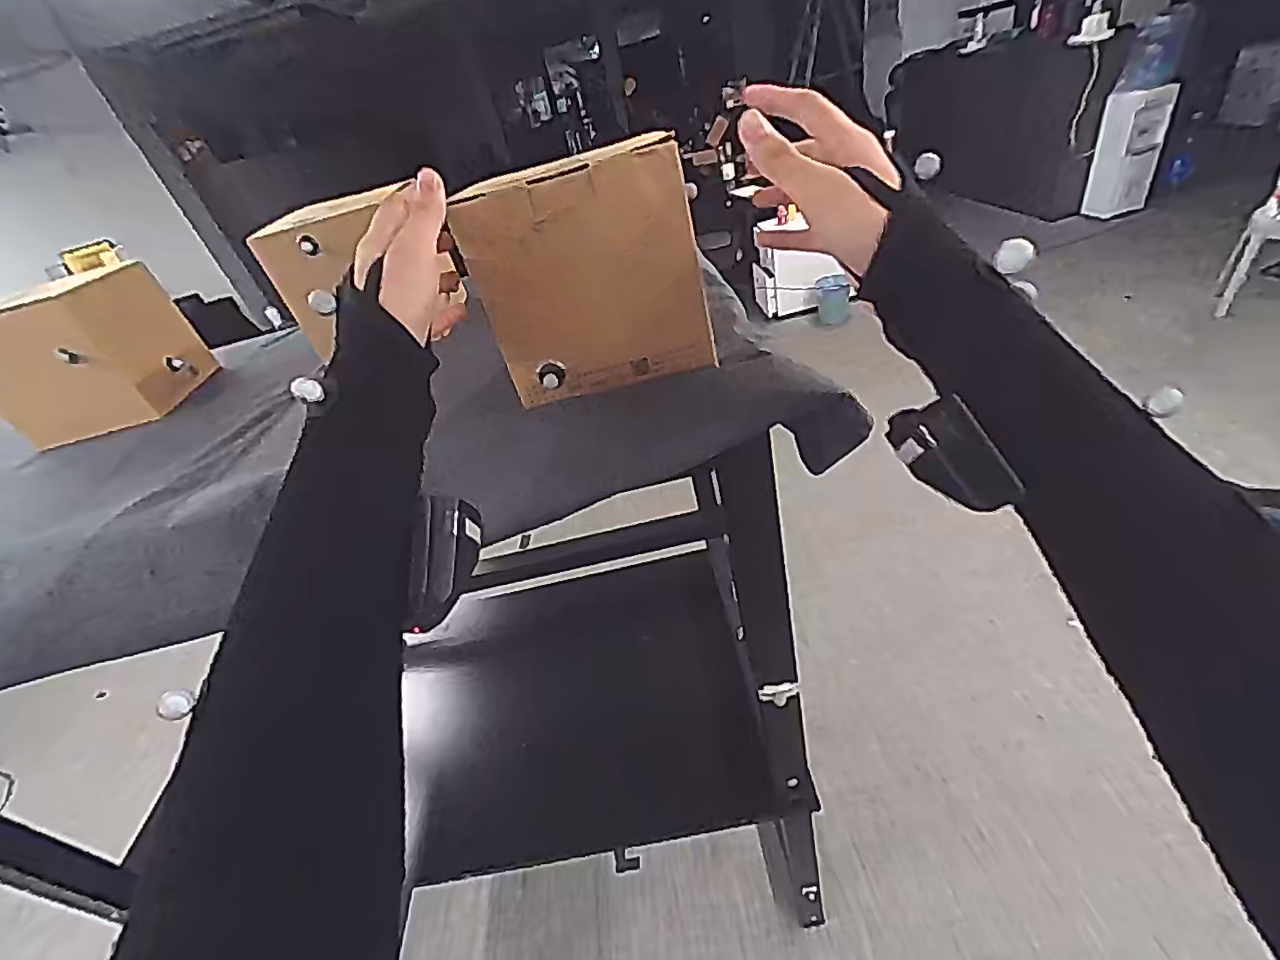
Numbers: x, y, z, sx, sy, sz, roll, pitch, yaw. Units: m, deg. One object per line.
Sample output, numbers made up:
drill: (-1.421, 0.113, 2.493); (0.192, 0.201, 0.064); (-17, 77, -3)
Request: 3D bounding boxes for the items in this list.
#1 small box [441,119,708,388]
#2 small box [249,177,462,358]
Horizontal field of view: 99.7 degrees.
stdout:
small box: (-0.042, -0.193, 0.473); (0.168, 0.176, 0.179); (-12, 32, 6)
small box: (-0.356, -0.283, 0.722); (0.168, 0.176, 0.179); (-14, 36, 3)
